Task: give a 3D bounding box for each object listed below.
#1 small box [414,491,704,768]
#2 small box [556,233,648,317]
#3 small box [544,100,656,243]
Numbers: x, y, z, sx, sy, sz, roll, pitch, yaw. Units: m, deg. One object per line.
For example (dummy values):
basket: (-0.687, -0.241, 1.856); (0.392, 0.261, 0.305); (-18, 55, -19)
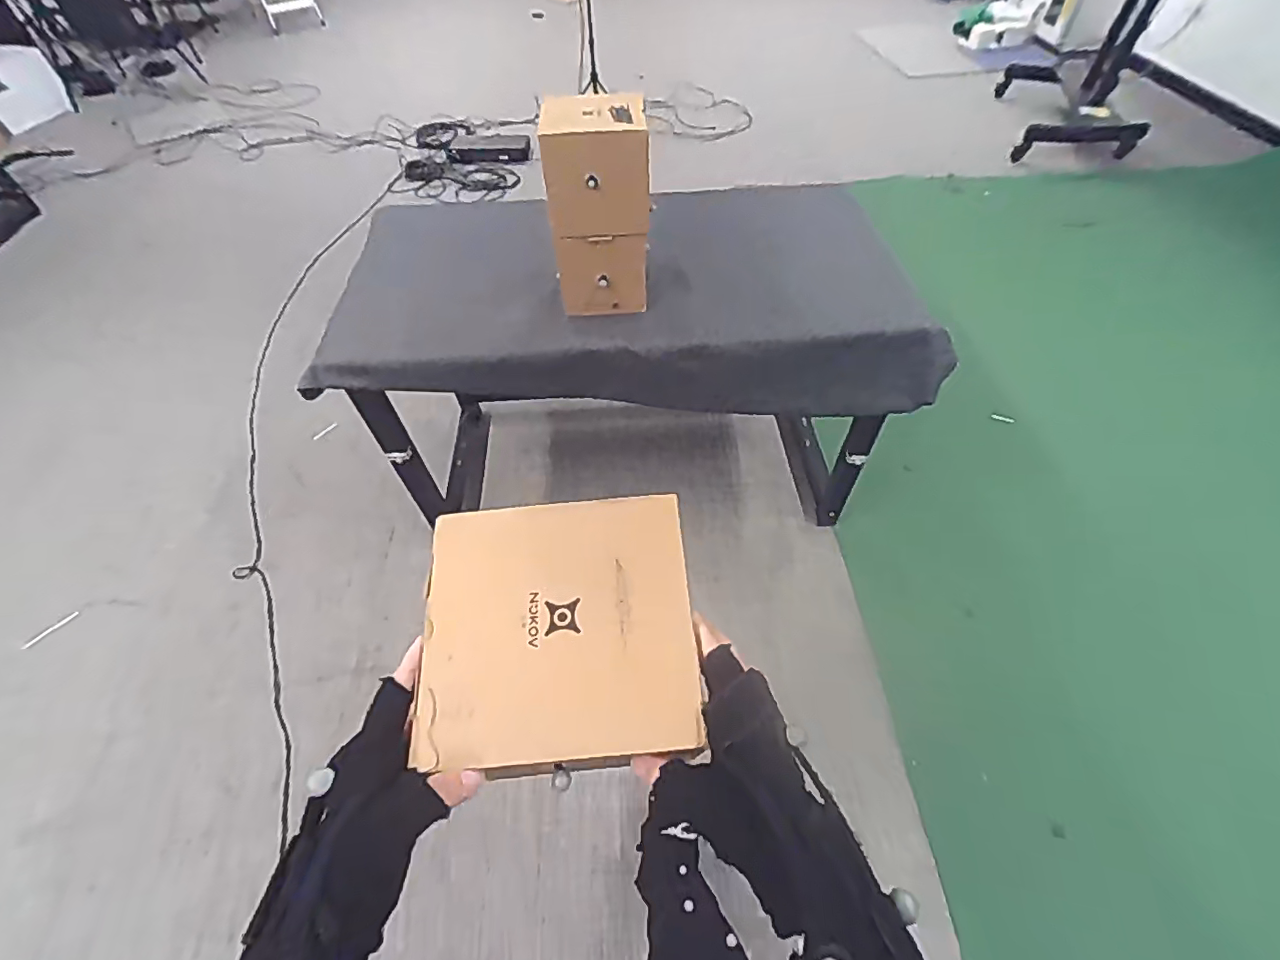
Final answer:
small box: (-0.051, 0.126, 0.425); (0.179, 0.176, 0.168); (-5, 61, -2)
small box: (-0.070, -0.442, 1.083); (0.168, 0.176, 0.179); (-3, 53, -1)
small box: (-0.069, -0.537, 0.948); (0.179, 0.176, 0.168); (-5, 52, -3)
